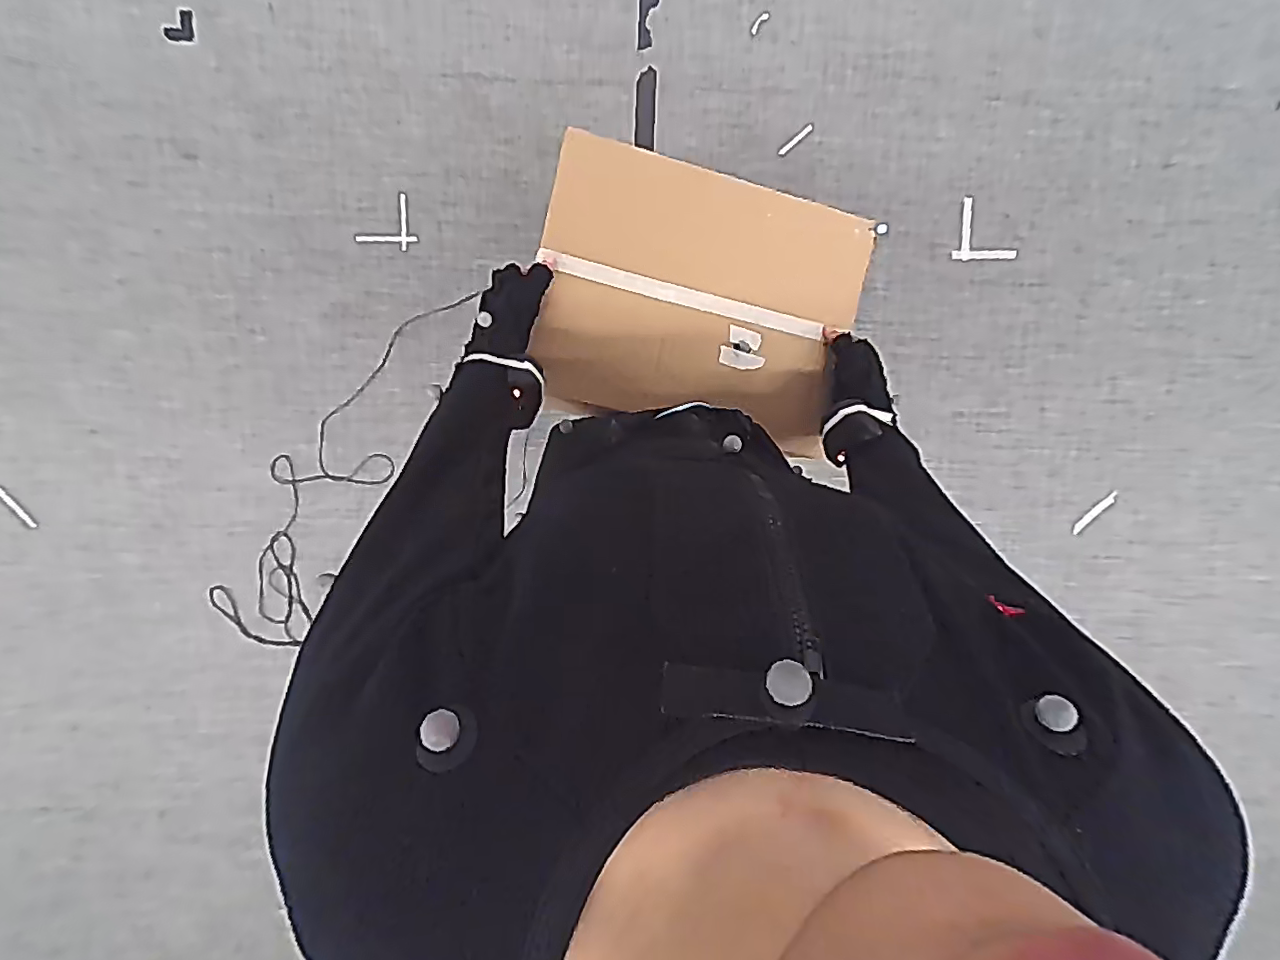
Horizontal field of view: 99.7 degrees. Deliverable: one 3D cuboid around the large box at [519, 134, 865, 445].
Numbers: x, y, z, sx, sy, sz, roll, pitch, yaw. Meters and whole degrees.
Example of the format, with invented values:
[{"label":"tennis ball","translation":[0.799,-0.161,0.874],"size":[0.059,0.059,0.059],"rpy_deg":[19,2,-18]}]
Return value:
[{"label":"large box","translation":[0.052,-0.243,0.833],"size":[0.408,0.320,0.320],"rpy_deg":[13,93,-8]}]
